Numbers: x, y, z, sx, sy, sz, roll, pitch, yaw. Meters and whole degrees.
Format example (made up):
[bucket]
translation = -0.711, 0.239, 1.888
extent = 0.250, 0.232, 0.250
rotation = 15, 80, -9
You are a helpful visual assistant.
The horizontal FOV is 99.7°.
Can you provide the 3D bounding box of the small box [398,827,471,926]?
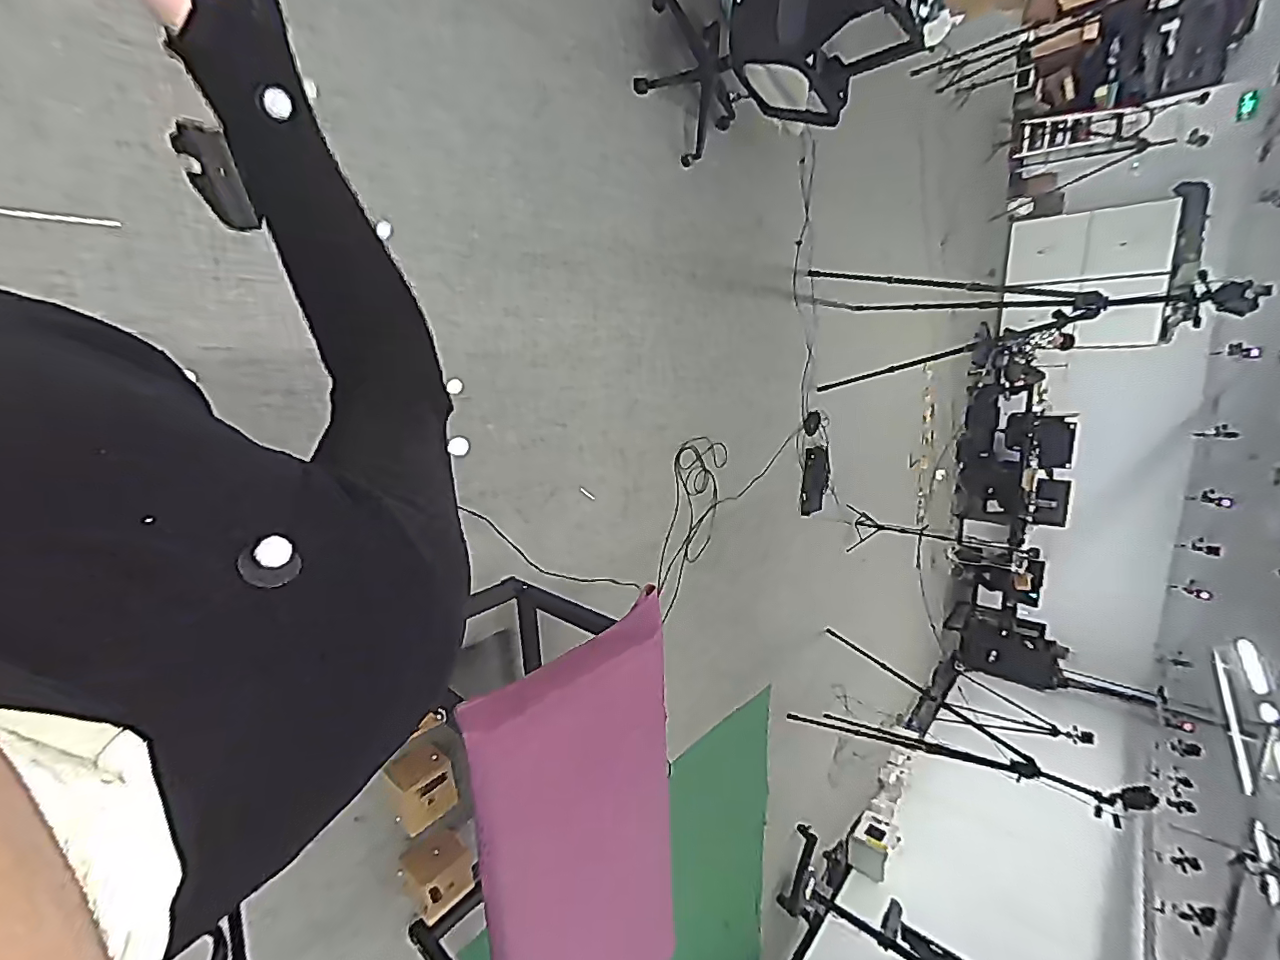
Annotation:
[small box]
translation = -0.711, 1.354, 1.860
extent = 0.179, 0.176, 0.168
rotation = -20, 112, -47
